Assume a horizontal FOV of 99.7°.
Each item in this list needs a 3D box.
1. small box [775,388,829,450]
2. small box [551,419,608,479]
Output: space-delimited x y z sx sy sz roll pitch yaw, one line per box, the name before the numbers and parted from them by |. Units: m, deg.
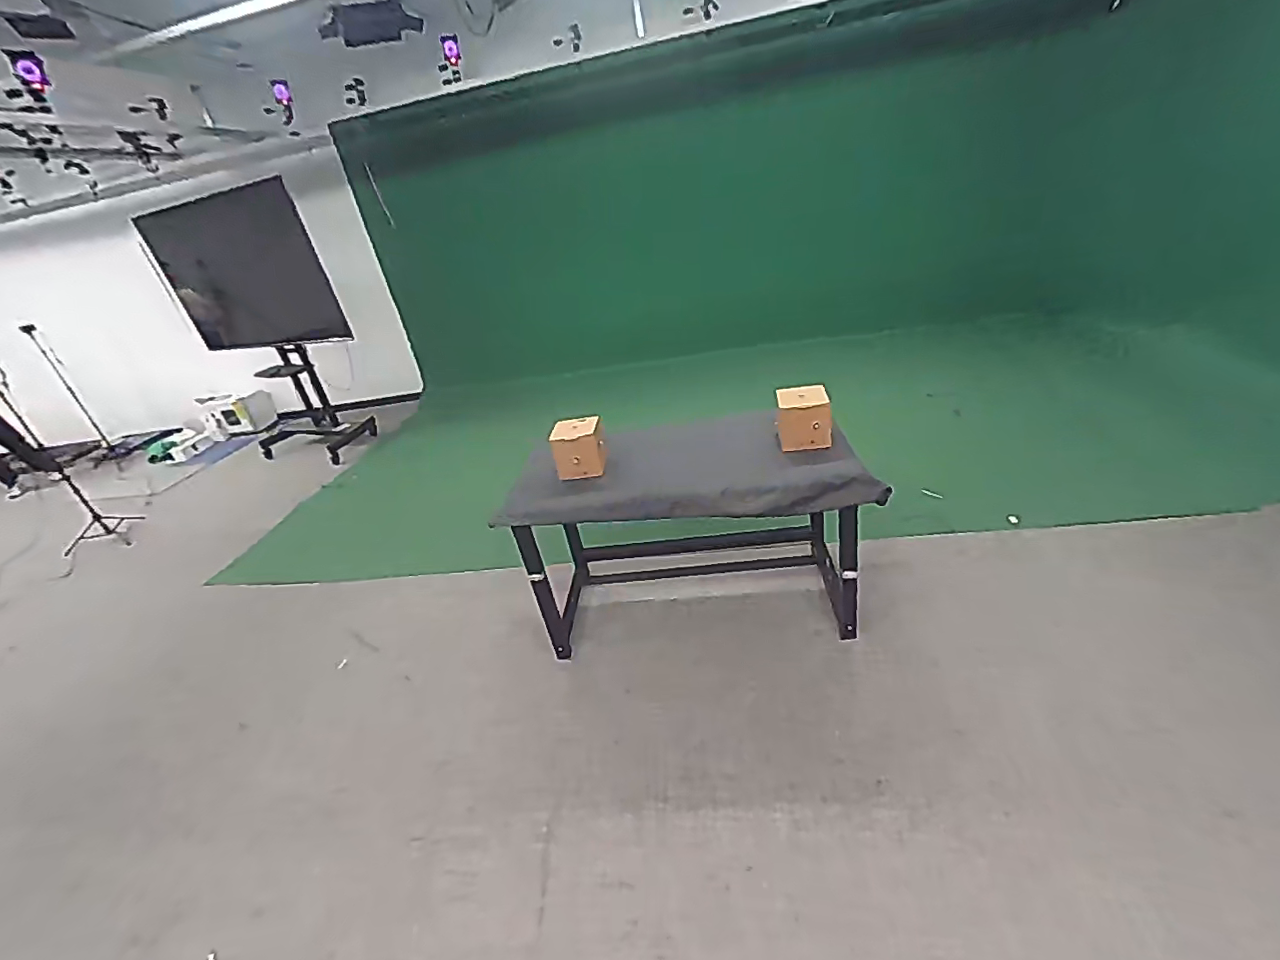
small box | 0.574 -0.212 1.915 0.168 0.176 0.179 -4 28 11
small box | -0.219 -0.111 2.028 0.168 0.176 0.179 -7 29 7
